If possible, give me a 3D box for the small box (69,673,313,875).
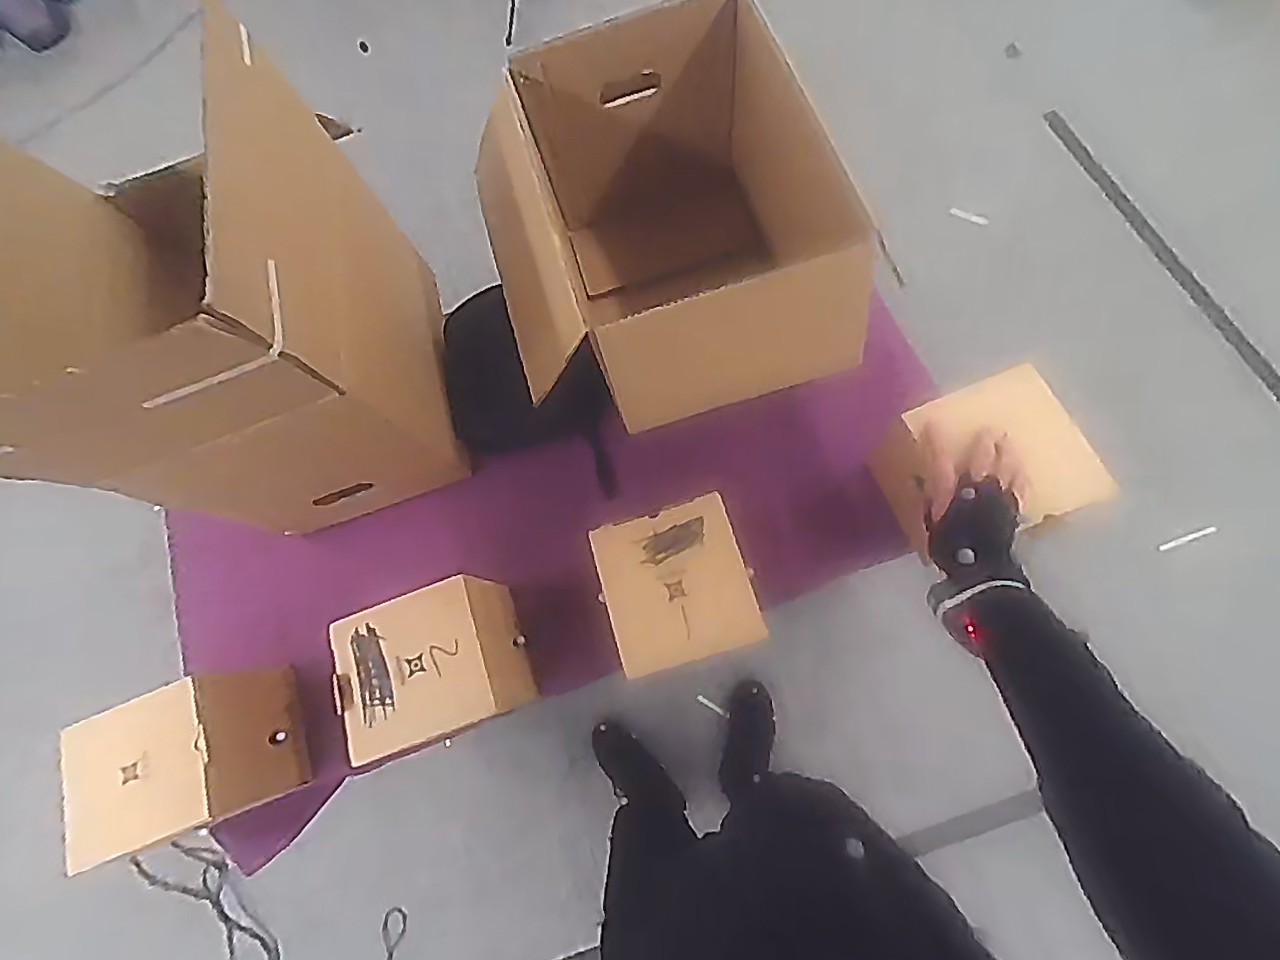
[{"bbox_3d":[-0.574,0.366,0.707,0.179,0.176,0.168,-23,72,-1],"label":"small box"}]

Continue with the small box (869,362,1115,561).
[{"bbox_3d":[0.420,-0.012,0.687,0.168,0.176,0.179,-23,73,2],"label":"small box"}]
